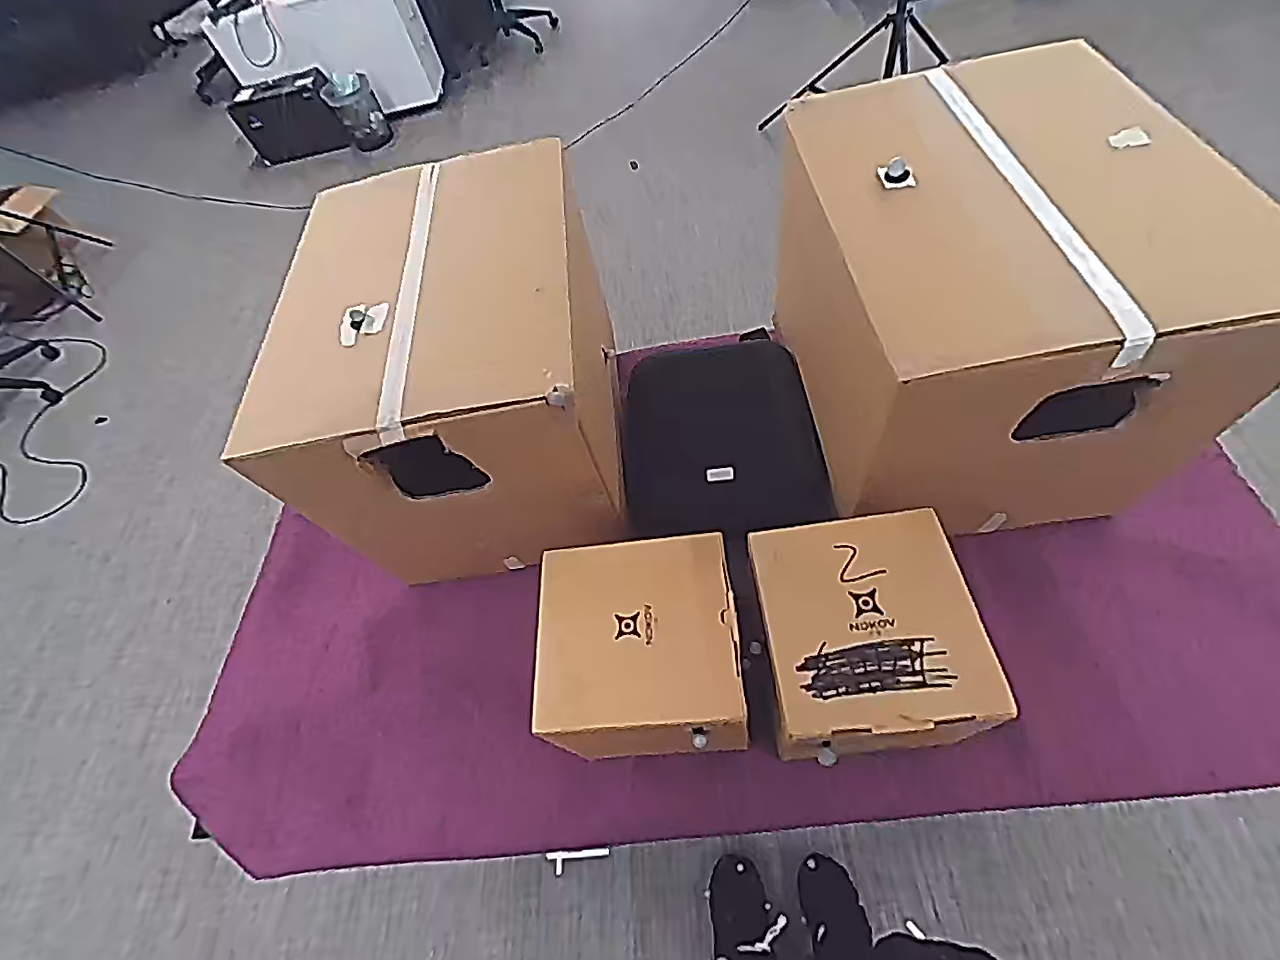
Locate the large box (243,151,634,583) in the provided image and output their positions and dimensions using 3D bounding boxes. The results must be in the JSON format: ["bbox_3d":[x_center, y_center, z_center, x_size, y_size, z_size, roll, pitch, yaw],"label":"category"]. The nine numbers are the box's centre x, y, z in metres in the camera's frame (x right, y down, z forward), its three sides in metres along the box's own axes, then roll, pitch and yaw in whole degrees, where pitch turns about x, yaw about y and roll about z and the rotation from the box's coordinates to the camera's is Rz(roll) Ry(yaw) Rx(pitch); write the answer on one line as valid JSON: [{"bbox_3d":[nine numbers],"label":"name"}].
[{"bbox_3d":[-0.200,-0.127,0.685,0.320,0.320,0.408,-11,59,5],"label":"large box"}]
